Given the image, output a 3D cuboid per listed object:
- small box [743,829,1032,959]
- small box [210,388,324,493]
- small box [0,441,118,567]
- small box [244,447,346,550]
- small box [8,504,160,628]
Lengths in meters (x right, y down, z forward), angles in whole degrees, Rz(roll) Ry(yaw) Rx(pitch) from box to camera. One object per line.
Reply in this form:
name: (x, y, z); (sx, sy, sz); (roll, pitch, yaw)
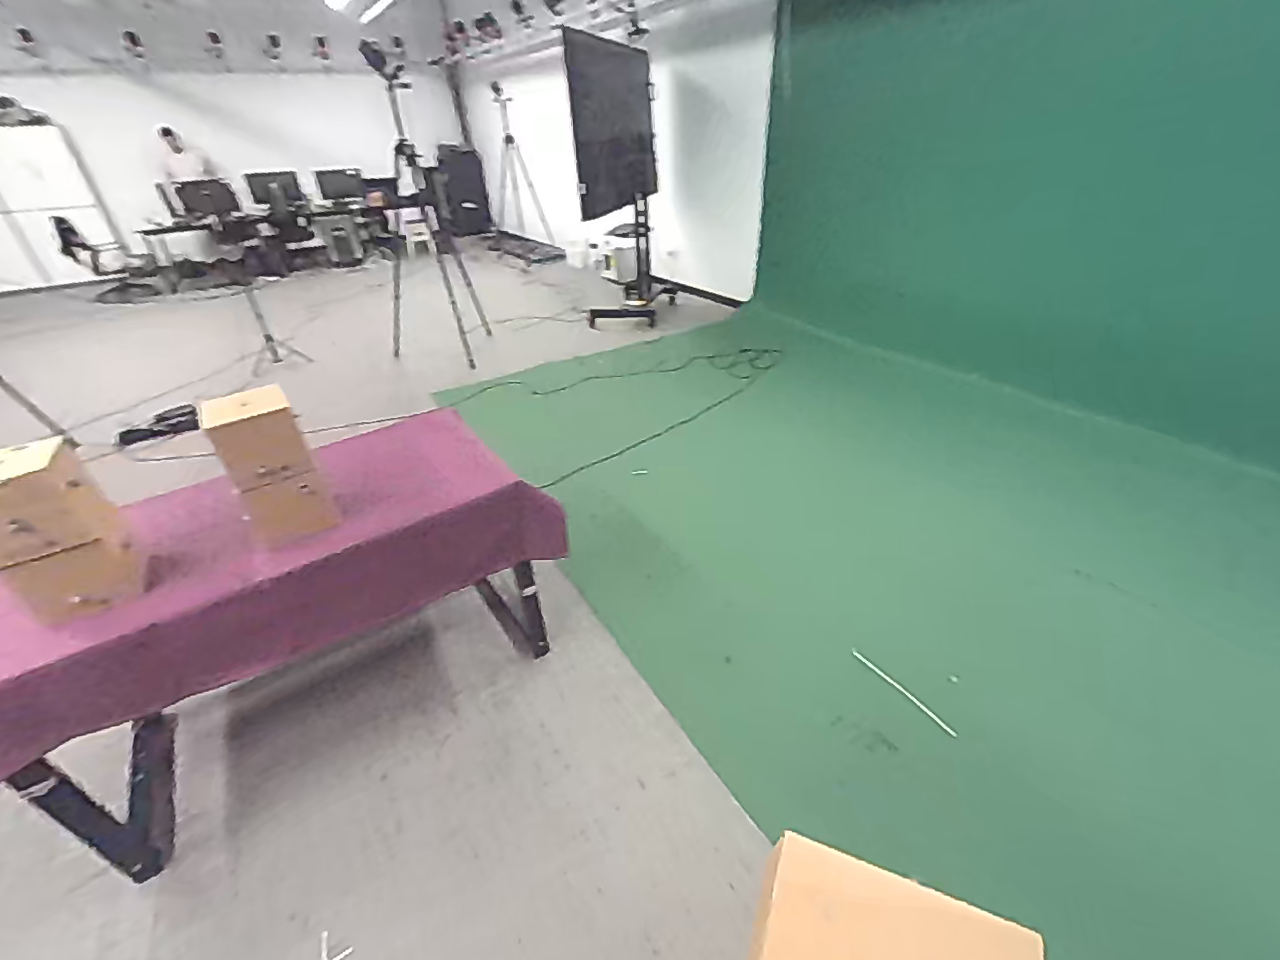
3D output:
small box: (0.158, 0.390, 0.391); (0.168, 0.176, 0.179); (12, 54, 18)
small box: (-0.872, -0.094, 1.268); (0.168, 0.176, 0.179); (-25, 39, -28)
small box: (-1.195, 0.052, 1.078); (0.168, 0.176, 0.179); (-22, 38, -27)
small box: (-0.861, 0.044, 1.356); (0.179, 0.176, 0.168); (-24, 38, -28)
small box: (-1.188, 0.184, 1.175); (0.168, 0.176, 0.179); (-23, 38, -26)
